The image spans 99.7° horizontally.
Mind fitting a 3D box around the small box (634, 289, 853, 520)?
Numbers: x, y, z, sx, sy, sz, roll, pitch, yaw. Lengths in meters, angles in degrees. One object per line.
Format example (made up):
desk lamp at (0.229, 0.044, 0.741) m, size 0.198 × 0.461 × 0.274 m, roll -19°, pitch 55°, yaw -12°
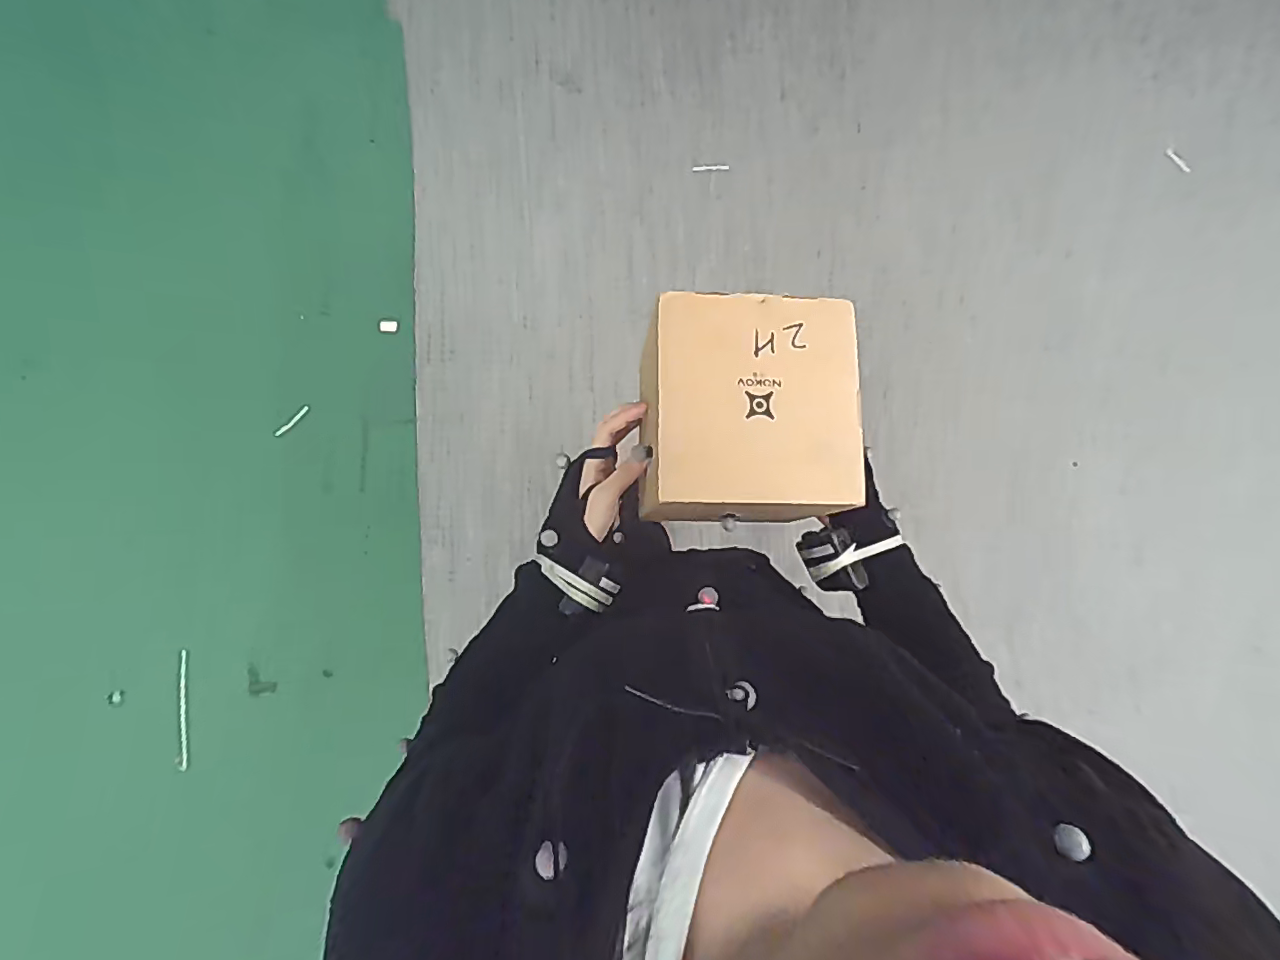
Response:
small box at (0.084, -0.056, 0.513) m, size 0.168 × 0.176 × 0.179 m, roll 2°, pitch 80°, yaw -5°
